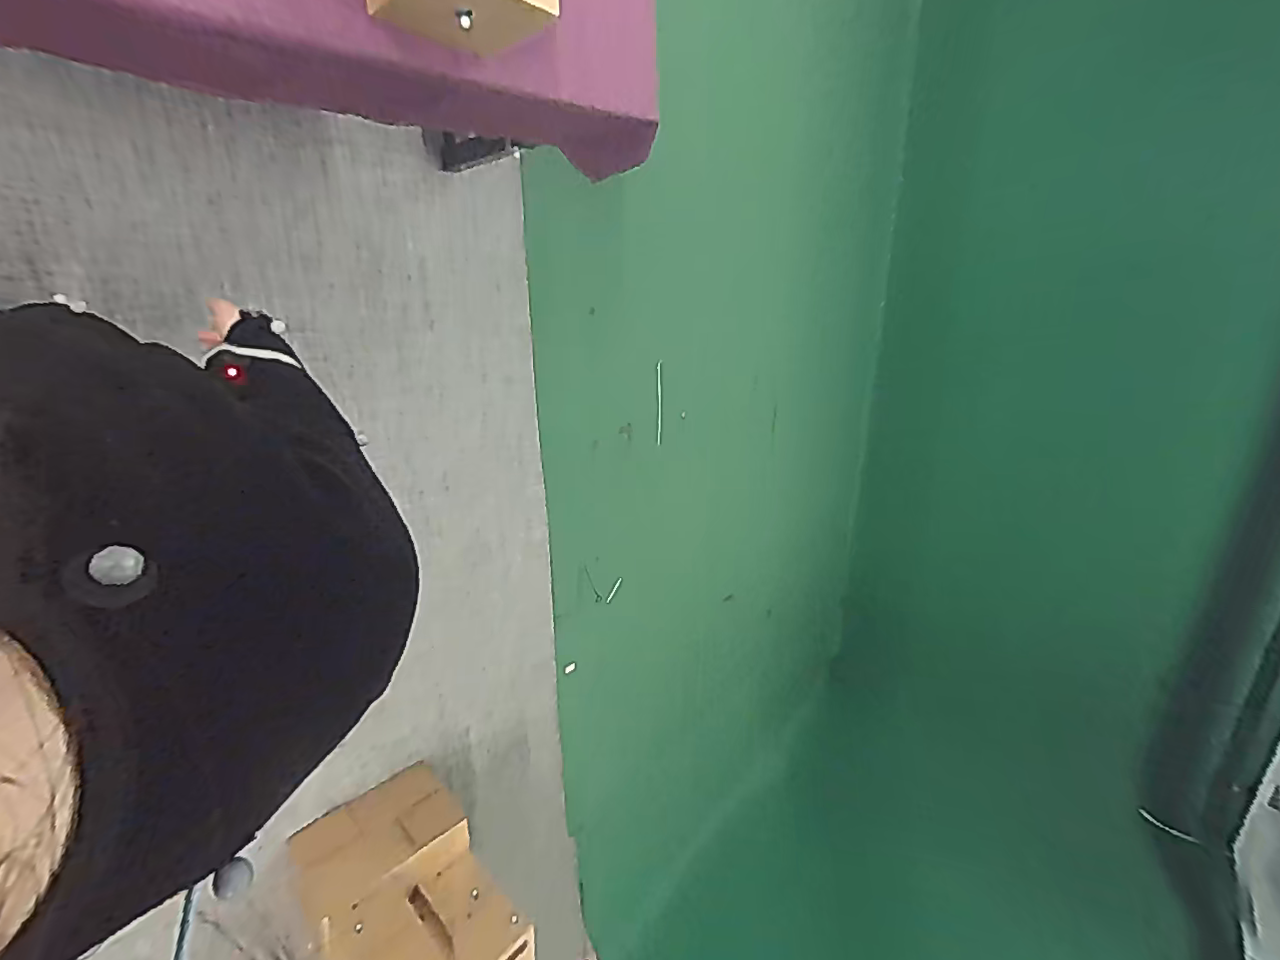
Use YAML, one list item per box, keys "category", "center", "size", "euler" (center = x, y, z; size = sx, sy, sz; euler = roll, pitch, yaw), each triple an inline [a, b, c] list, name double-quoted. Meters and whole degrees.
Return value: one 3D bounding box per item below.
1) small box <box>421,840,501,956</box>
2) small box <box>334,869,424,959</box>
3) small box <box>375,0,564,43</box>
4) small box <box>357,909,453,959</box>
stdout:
- category: "small box"
  center: [-0.527, 1.216, 1.586]
  size: [0.168, 0.176, 0.179]
  euler: [-12, 114, -47]
- category: "small box"
  center: [-0.674, 1.157, 1.394]
  size: [0.168, 0.176, 0.179]
  euler: [-10, 112, -45]
- category: "small box"
  center: [-0.214, -0.663, 0.648]
  size: [0.179, 0.176, 0.168]
  euler: [-20, 116, -43]
- category: "small box"
  center: [-0.563, 1.190, 1.280]
  size: [0.179, 0.176, 0.168]
  euler: [-10, 111, -46]
